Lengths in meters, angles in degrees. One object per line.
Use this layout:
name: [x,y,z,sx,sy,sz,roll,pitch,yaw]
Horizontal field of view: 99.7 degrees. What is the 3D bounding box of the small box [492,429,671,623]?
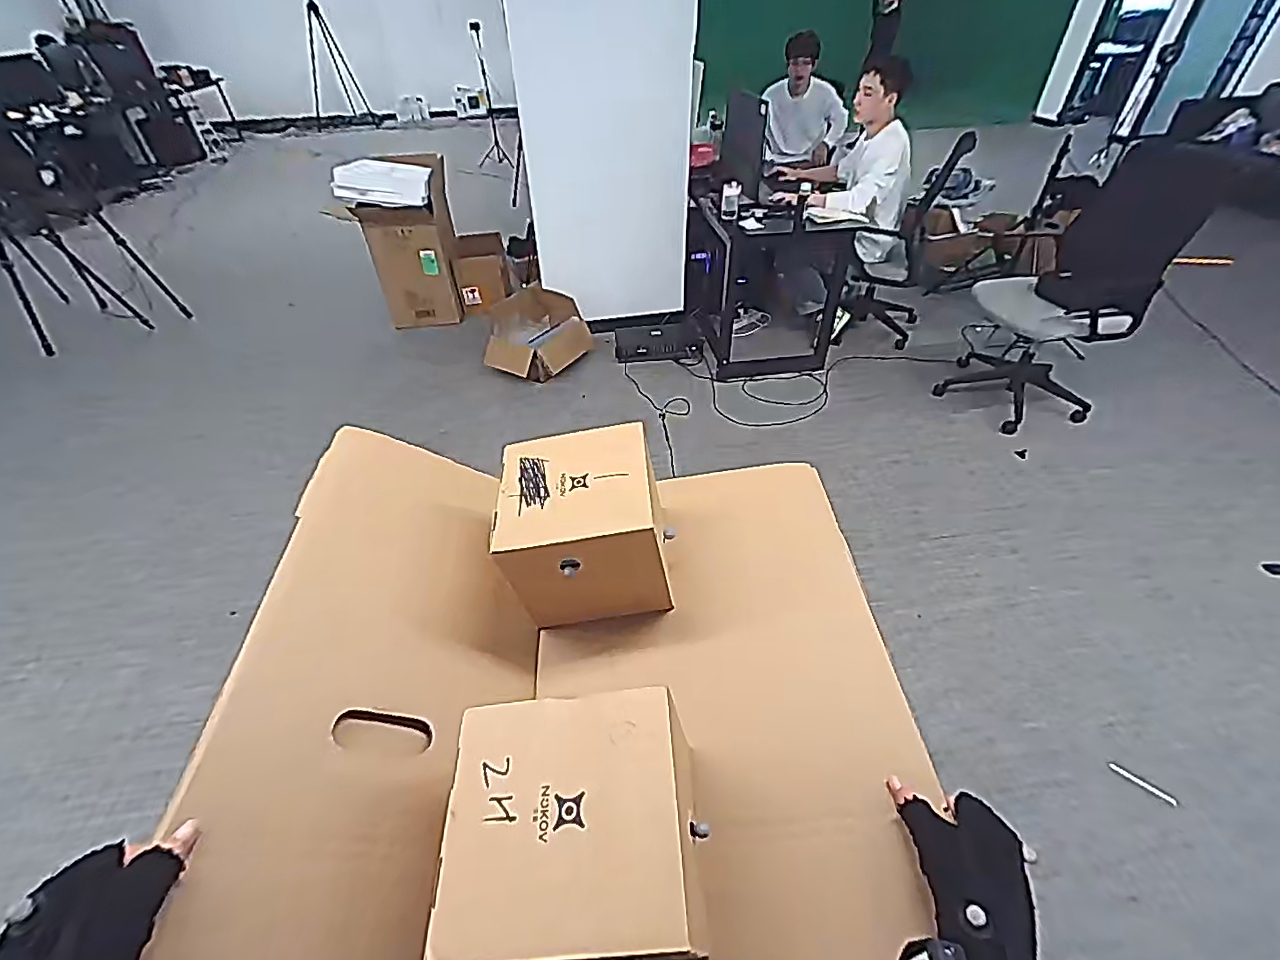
small box: [-0.064,0.063,0.678,0.179,0.176,0.168,-9,47,4]
